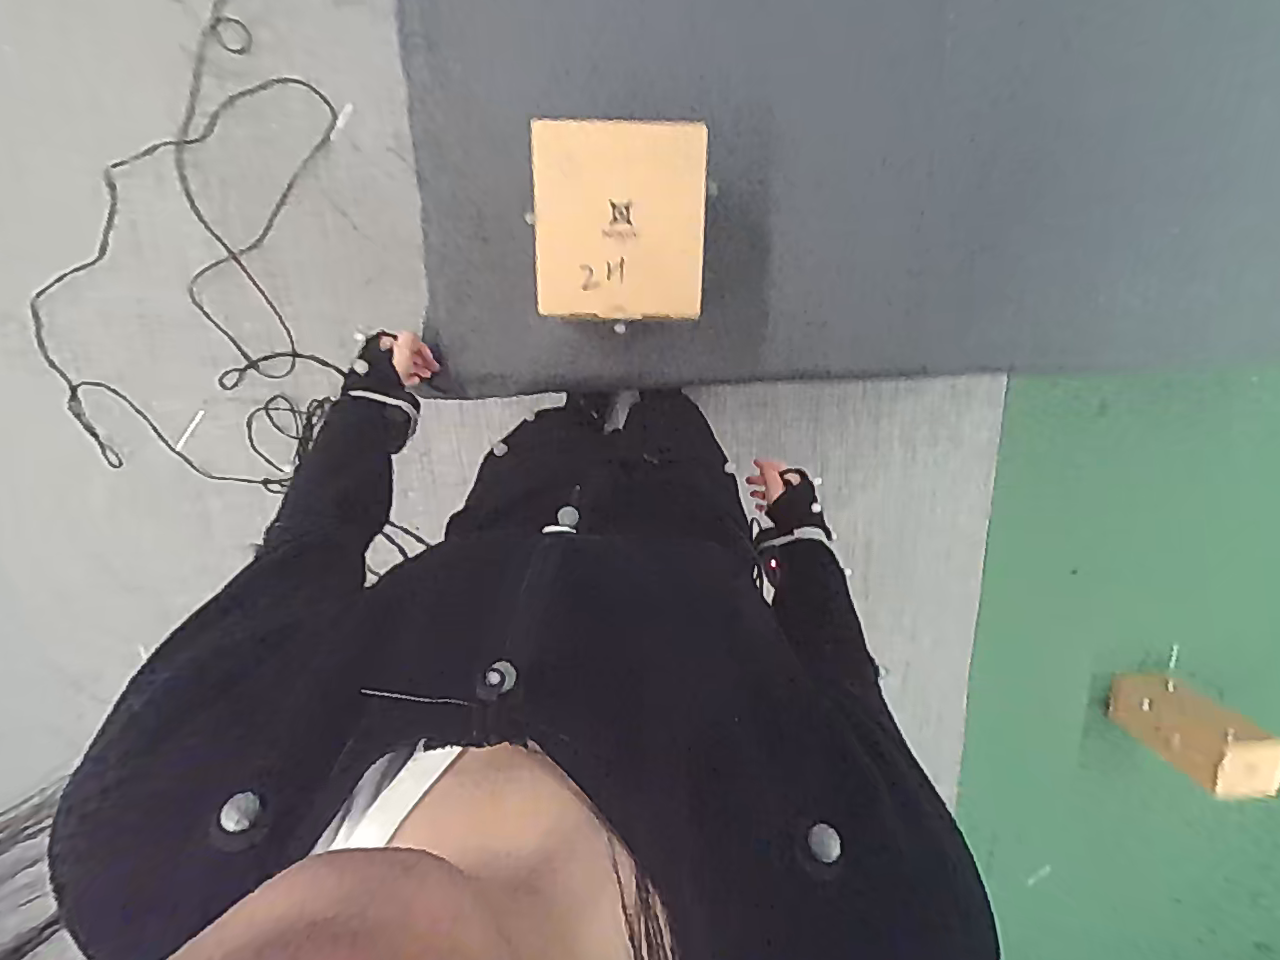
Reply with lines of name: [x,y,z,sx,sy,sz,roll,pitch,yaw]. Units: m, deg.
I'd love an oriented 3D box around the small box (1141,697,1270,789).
small box: [1.601,0.741,1.541,0.179,0.176,0.168,-4,105,-3]

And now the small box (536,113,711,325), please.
small box: [-0.022,-0.267,0.594,0.168,0.176,0.179,0,104,-3]
